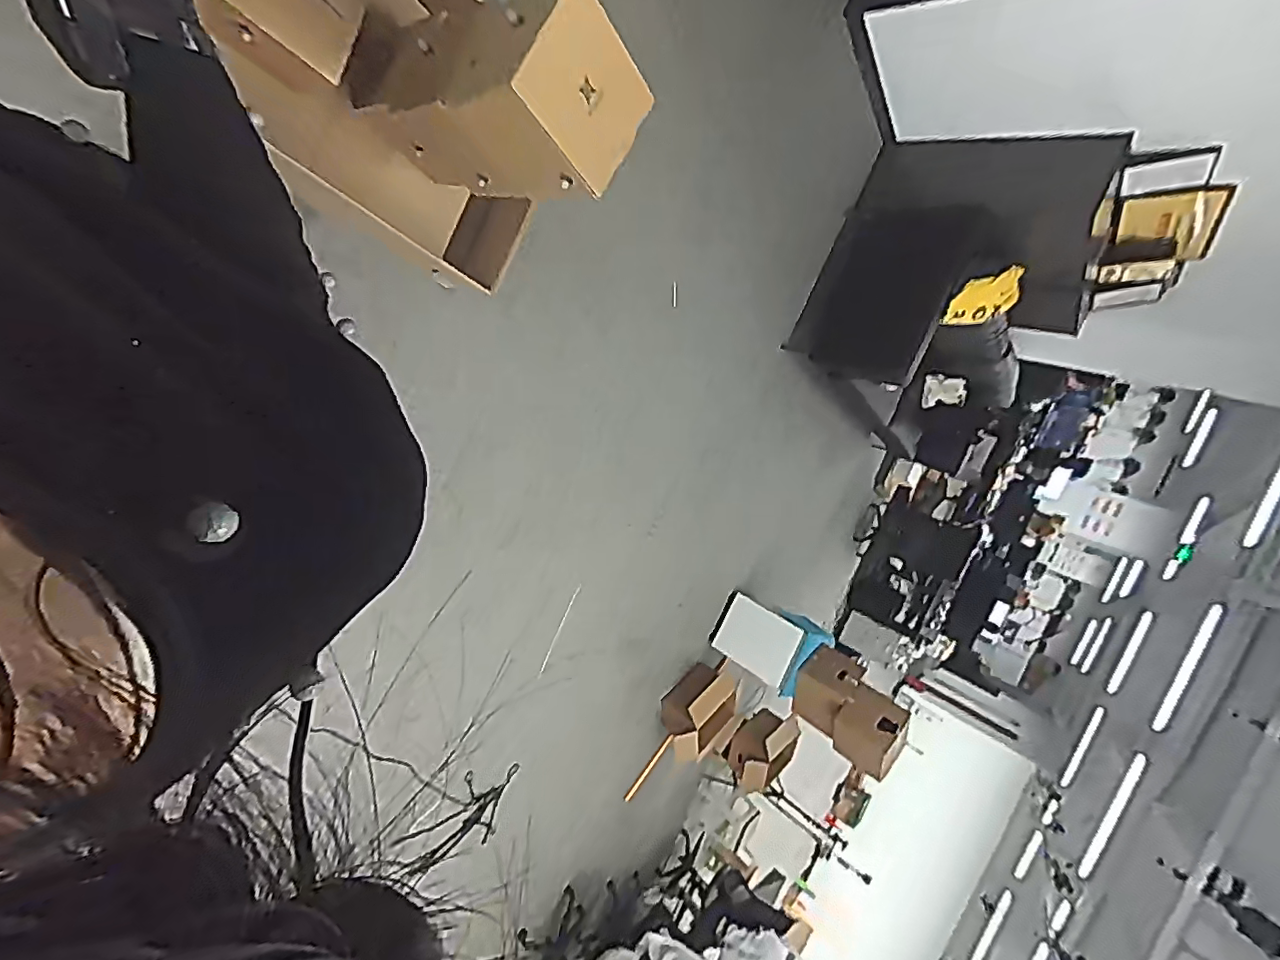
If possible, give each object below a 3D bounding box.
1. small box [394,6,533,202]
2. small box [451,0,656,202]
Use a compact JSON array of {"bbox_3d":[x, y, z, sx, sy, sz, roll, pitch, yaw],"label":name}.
[{"bbox_3d":[-0.232,-0.558,0.823,0.179,0.176,0.168,31,87,-50],"label":"small box"},{"bbox_3d":[-0.117,-0.501,0.725,0.179,0.176,0.168,33,84,-51],"label":"small box"}]
